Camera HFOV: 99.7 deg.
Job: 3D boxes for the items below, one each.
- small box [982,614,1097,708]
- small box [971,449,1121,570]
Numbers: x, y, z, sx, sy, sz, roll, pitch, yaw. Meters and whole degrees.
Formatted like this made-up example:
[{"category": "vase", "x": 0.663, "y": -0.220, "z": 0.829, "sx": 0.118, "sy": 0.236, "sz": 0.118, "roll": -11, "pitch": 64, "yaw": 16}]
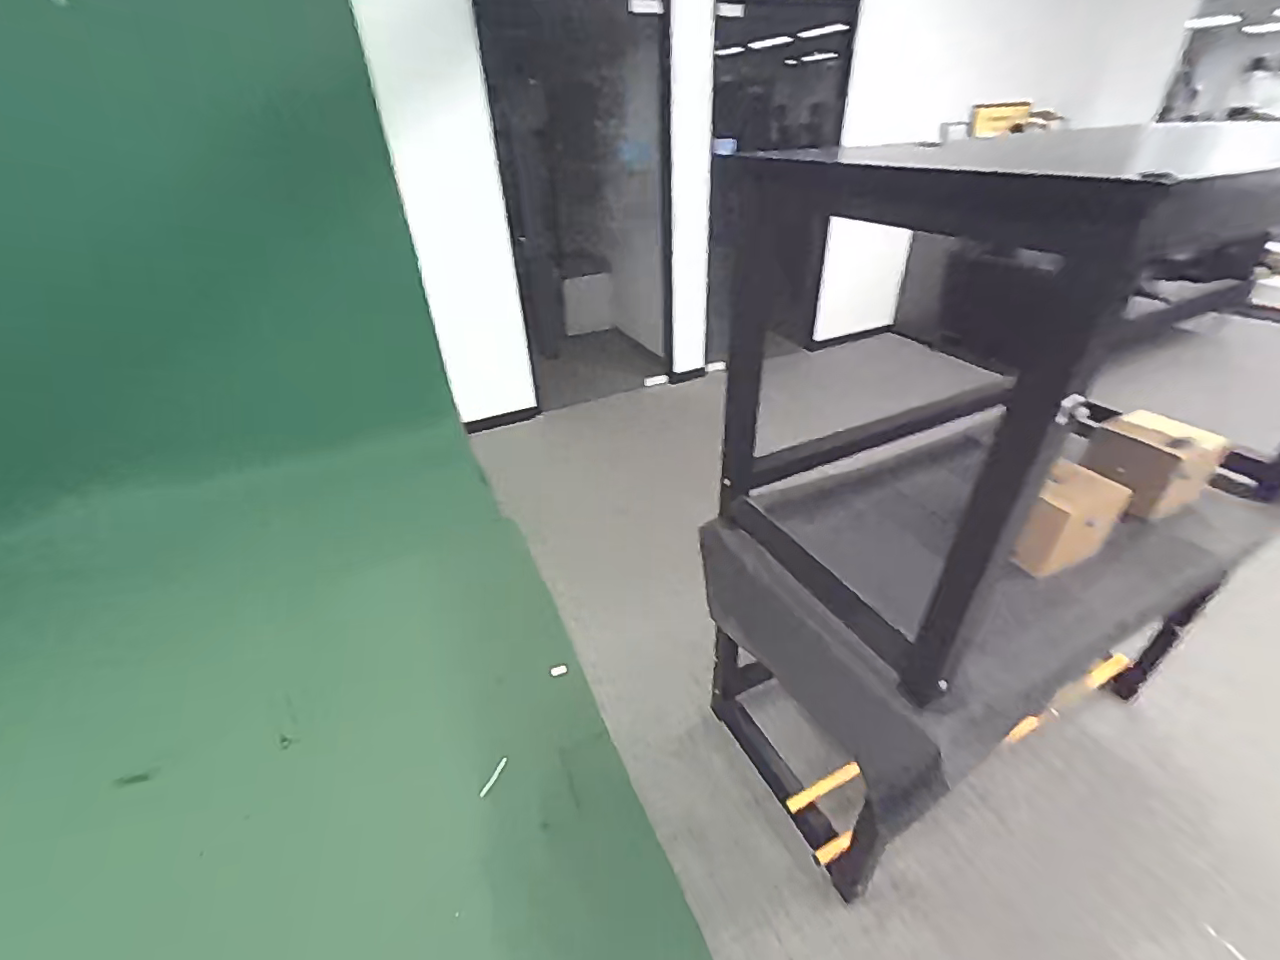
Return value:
[{"category": "small box", "x": 1.125, "y": 0.520, "z": 1.538, "sx": 0.168, "sy": 0.176, "sz": 0.179, "roll": -15, "pitch": 36, "yaw": -18}, {"category": "small box", "x": 0.826, "y": 0.061, "z": 1.122, "sx": 0.179, "sy": 0.176, "sz": 0.168, "roll": -15, "pitch": 36, "yaw": -18}]
